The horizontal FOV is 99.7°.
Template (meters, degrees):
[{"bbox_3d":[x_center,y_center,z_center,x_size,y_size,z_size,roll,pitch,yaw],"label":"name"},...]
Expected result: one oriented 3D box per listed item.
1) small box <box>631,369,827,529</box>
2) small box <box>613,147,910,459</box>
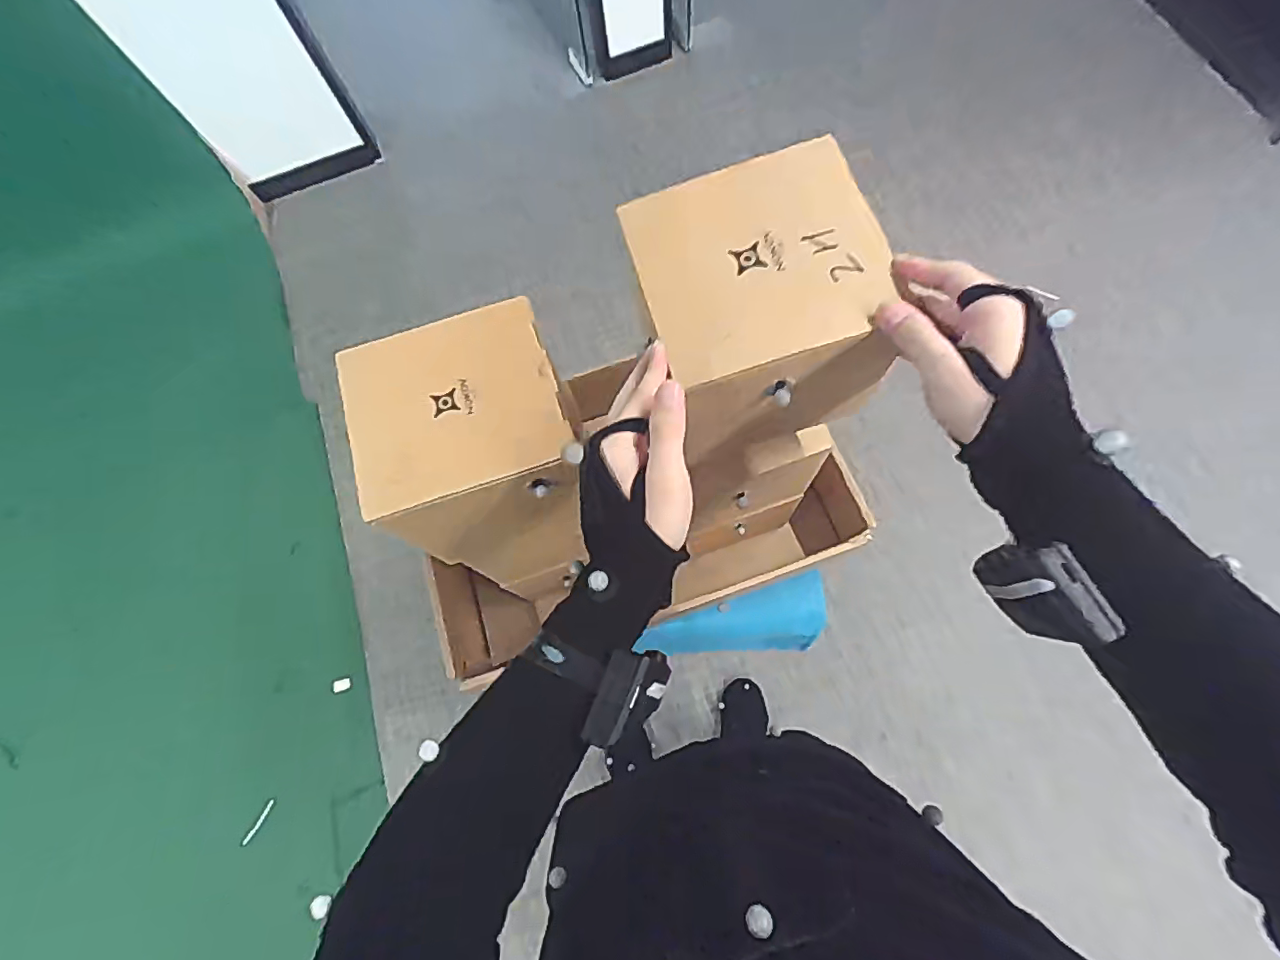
[{"bbox_3d":[0.105,-0.053,0.678,0.179,0.176,0.168,-21,71,0],"label":"small box"},{"bbox_3d":[0.091,-0.134,0.468,0.179,0.176,0.168,-17,73,2],"label":"small box"}]
